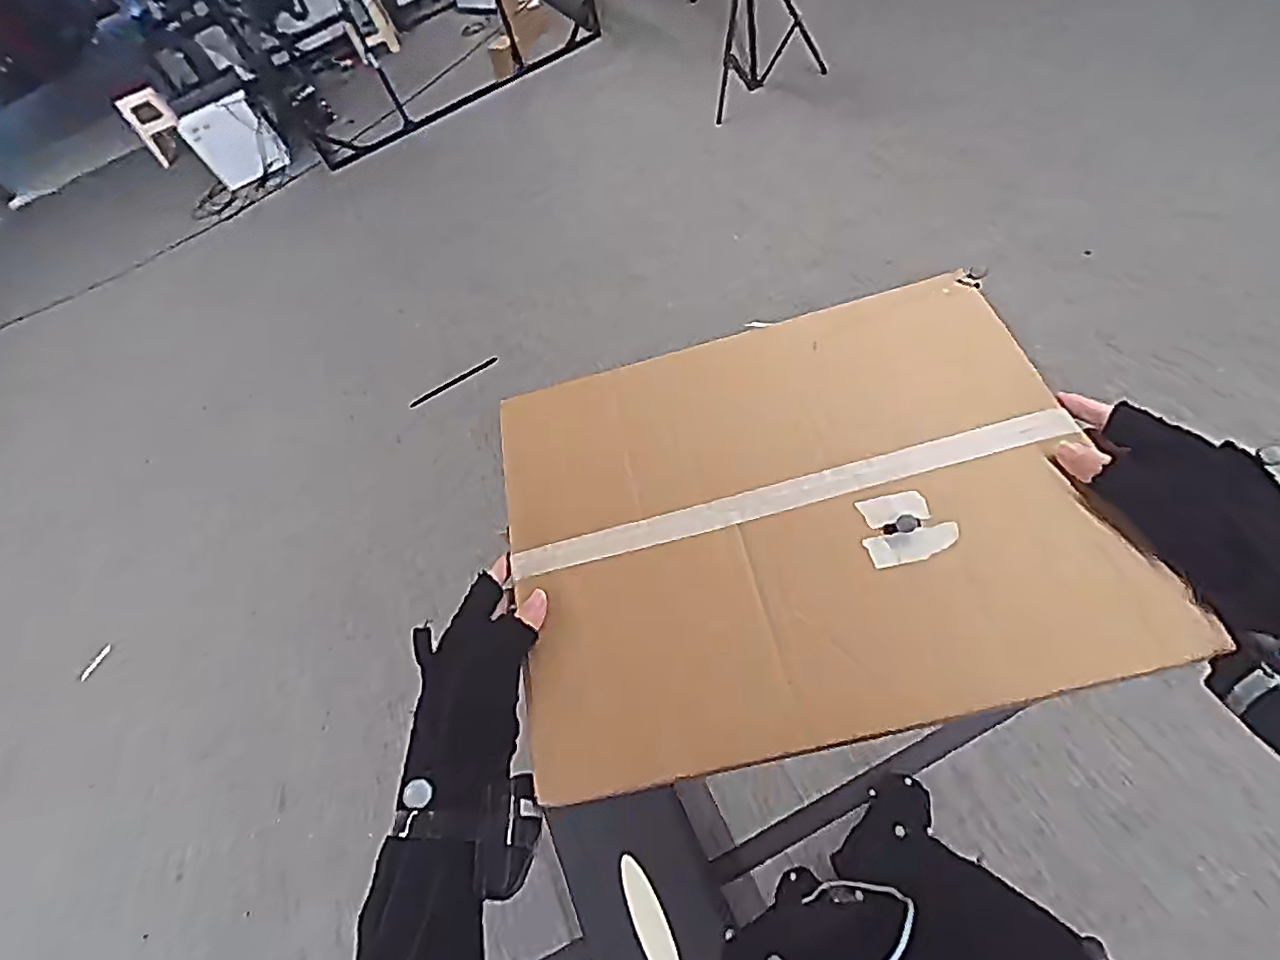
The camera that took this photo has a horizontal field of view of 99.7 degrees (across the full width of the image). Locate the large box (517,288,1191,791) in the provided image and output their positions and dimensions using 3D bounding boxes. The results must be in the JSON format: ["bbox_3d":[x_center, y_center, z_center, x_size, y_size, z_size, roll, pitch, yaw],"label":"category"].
[{"bbox_3d":[0.134,0.083,0.532,0.408,0.320,0.320,-15,62,4],"label":"large box"}]
